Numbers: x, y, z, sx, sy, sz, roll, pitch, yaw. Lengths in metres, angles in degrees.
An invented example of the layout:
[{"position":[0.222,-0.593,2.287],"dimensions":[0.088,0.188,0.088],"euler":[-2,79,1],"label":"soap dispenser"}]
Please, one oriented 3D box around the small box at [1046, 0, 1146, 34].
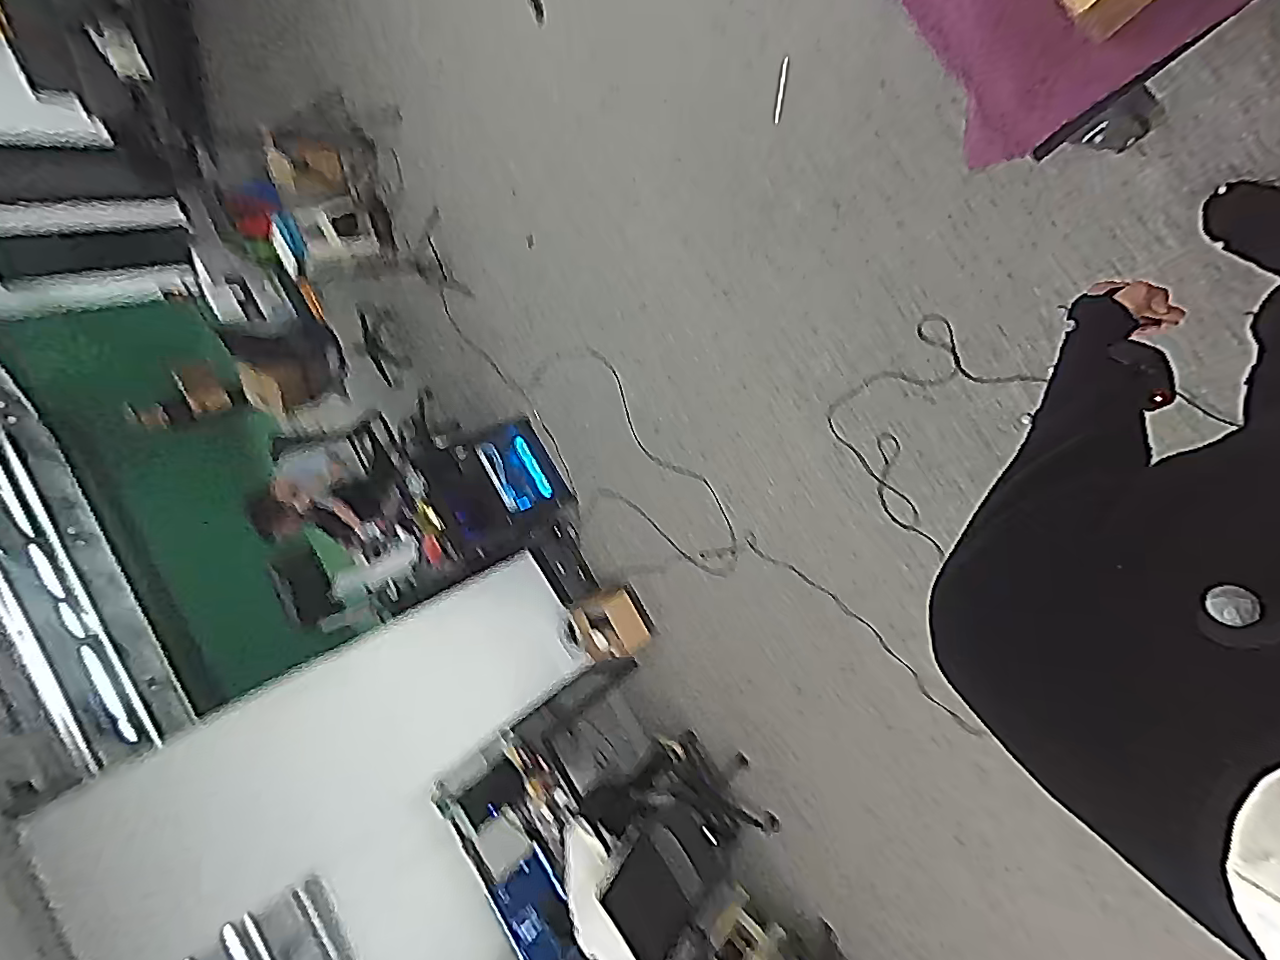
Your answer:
[{"position":[0.457,-0.560,0.494],"dimensions":[0.168,0.176,0.179],"euler":[59,142,4],"label":"small box"}]
